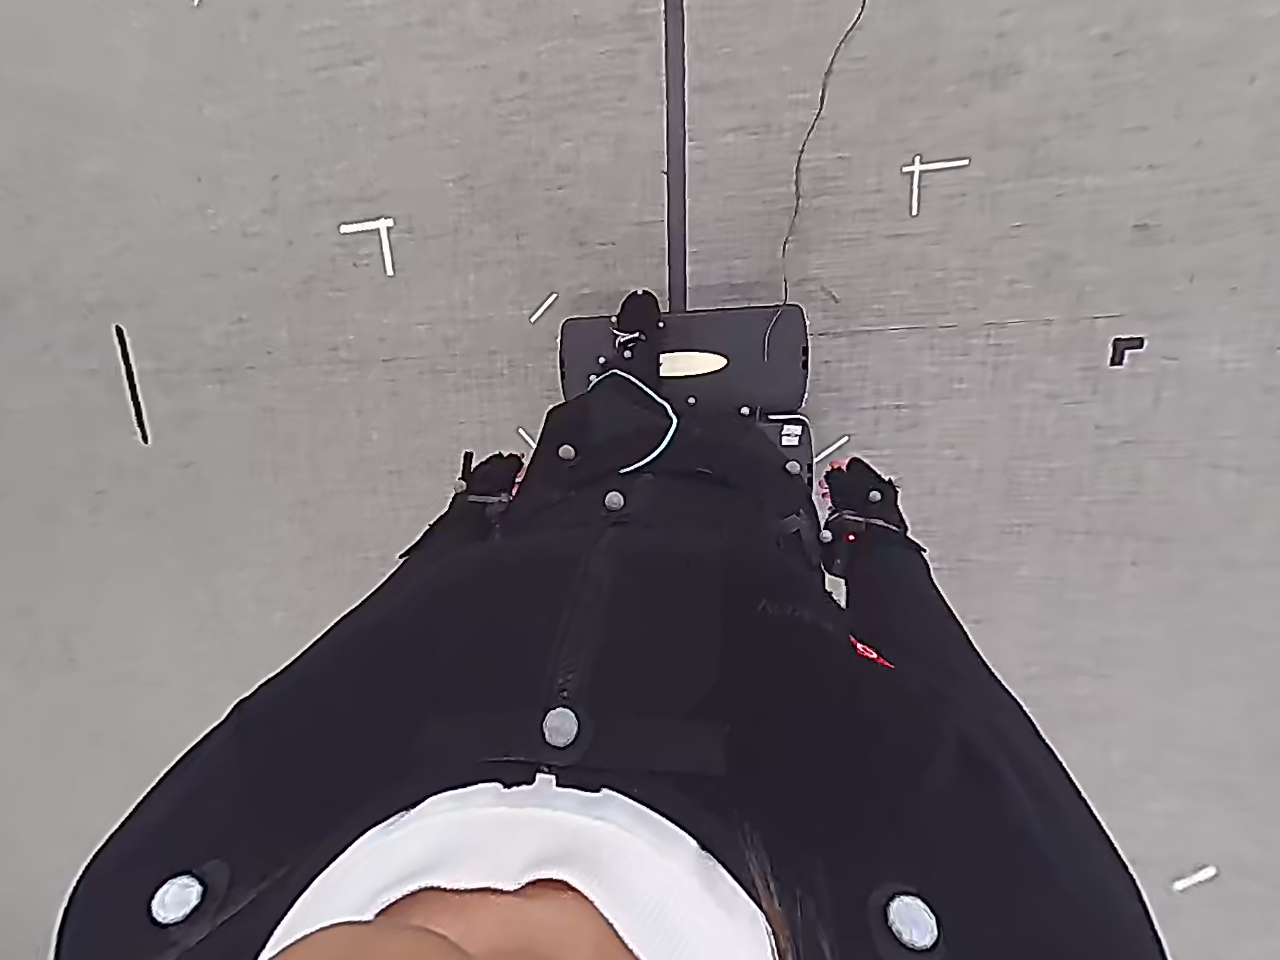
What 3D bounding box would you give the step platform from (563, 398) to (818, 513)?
[{"bbox_3d":[0.131,-0.064,1.483,0.684,0.204,0.286,-1,101,10],"label":"step platform"}]
